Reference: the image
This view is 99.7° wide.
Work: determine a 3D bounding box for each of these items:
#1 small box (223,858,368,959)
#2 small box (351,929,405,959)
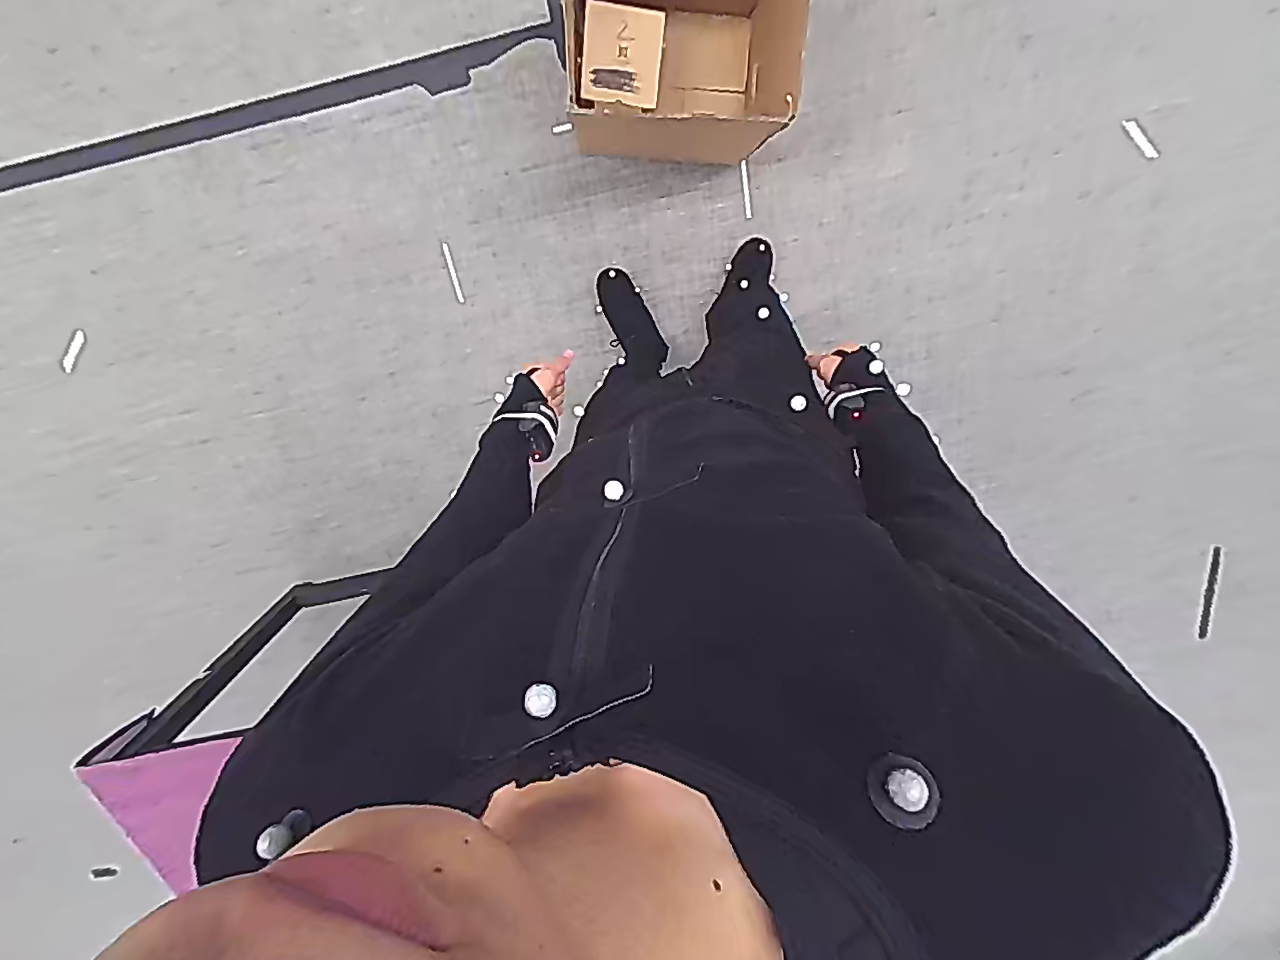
[{"bbox_3d":[-0.712,0.947,1.149,0.179,0.176,0.168,-19,110,6],"label":"small box"},{"bbox_3d":[-0.662,1.177,1.241,0.179,0.176,0.168,-14,110,4],"label":"small box"}]
